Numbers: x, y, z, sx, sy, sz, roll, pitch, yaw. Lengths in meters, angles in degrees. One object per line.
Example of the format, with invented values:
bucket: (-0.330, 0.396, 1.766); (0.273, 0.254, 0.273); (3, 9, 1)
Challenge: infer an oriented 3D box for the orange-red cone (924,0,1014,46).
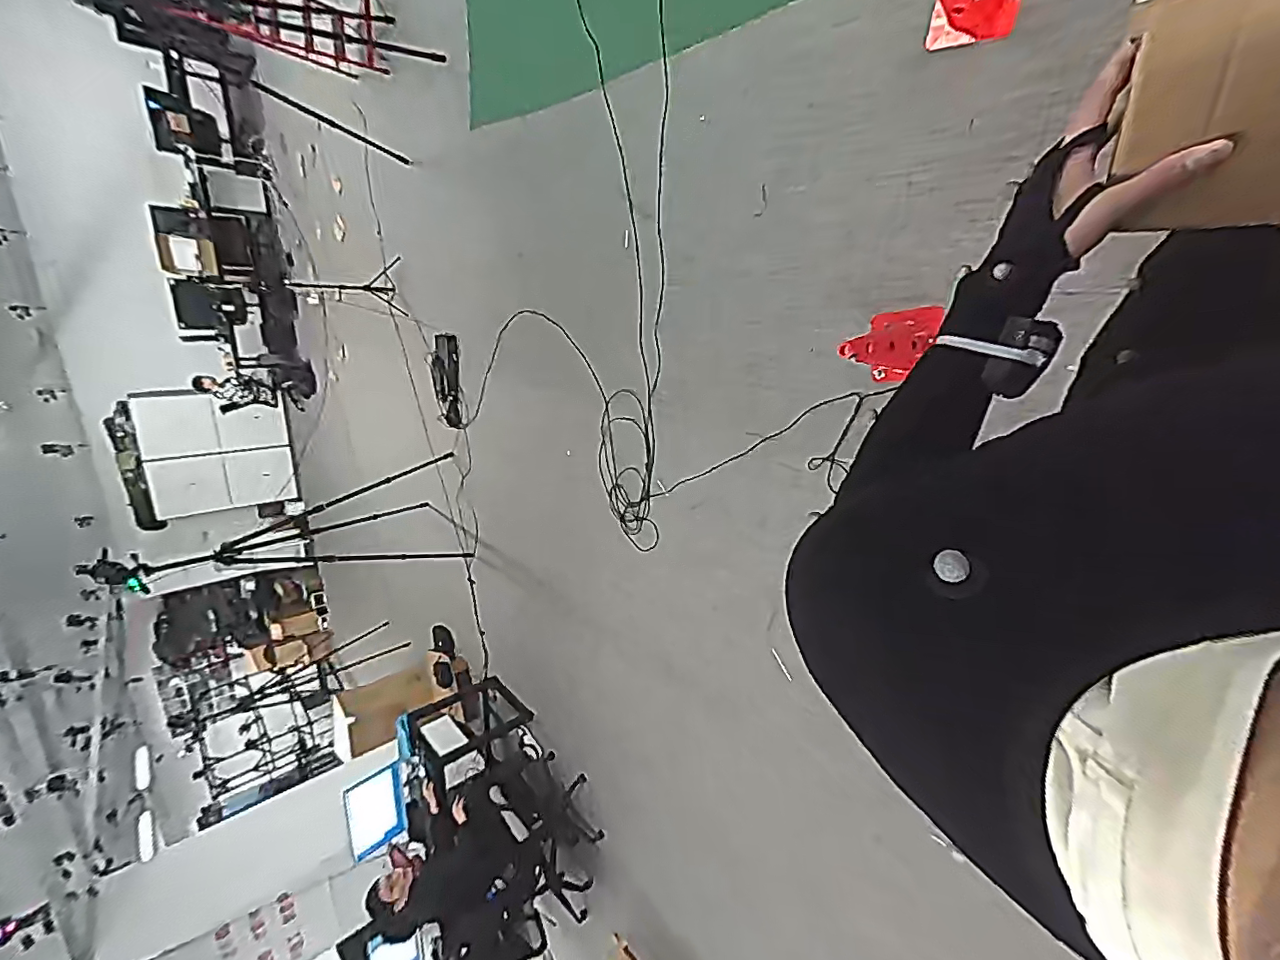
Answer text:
orange-red cone: (0.678, -1.143, 1.188); (0.199, 0.360, 0.198); (30, 121, 42)
